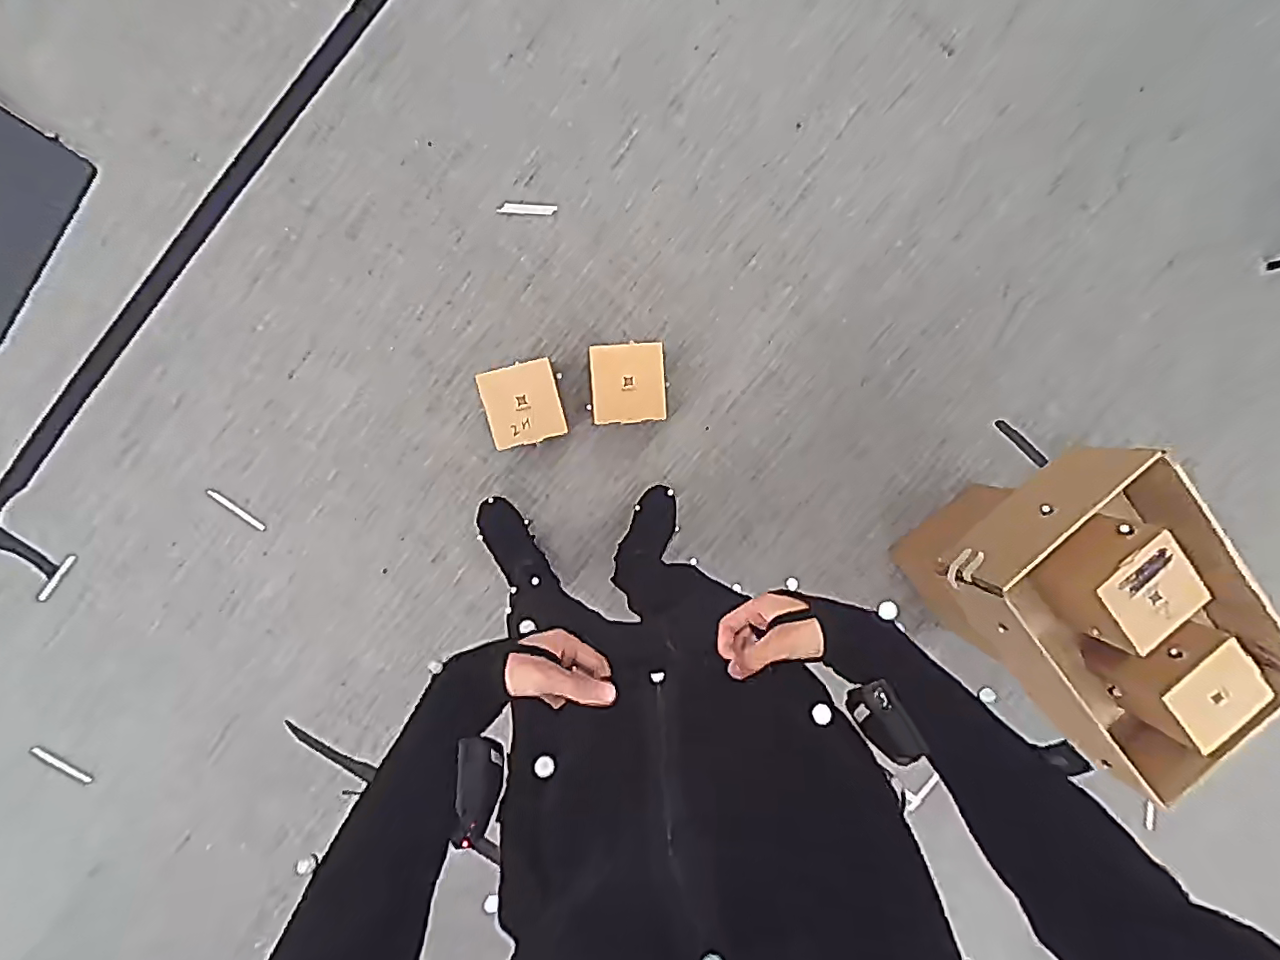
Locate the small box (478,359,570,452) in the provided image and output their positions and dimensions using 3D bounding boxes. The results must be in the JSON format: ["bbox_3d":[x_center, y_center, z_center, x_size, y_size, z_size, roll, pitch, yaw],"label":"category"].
[{"bbox_3d":[-0.267,-0.175,1.276,0.168,0.176,0.179,-15,100,-3],"label":"small box"}]

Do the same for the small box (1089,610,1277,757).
[{"bbox_3d":[1.050,0.386,1.060,0.179,0.176,0.168,-42,98,-2],"label":"small box"}]

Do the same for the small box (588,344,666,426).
[{"bbox_3d":[-0.035,-0.224,1.295,0.168,0.176,0.179,-5,99,-5],"label":"small box"}]
